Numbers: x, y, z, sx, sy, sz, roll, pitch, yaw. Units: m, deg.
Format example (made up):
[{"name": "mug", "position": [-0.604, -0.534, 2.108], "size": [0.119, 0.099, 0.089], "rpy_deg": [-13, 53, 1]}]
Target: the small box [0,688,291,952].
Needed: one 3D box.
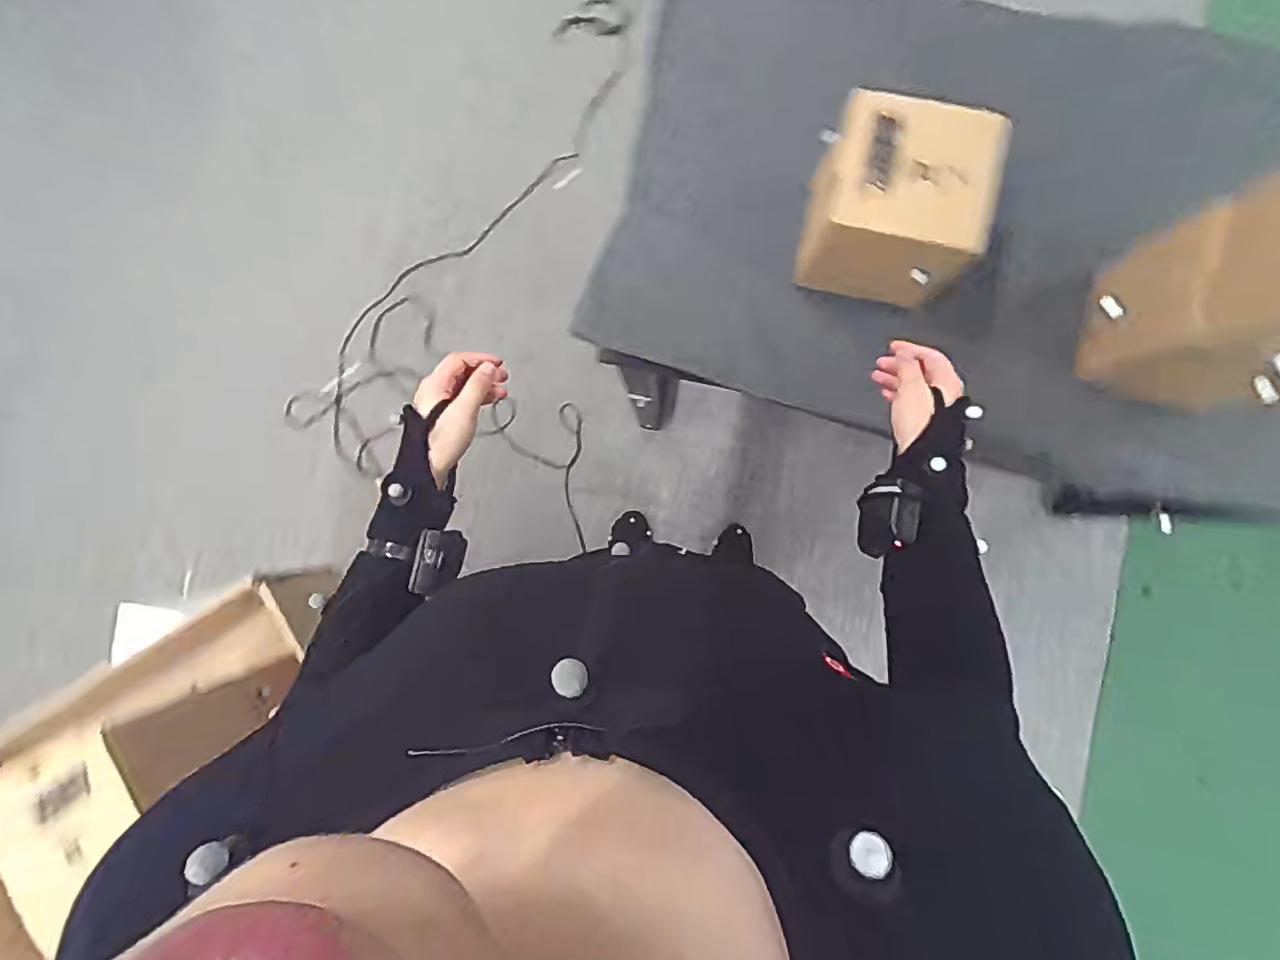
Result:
[{"name": "small box", "position": [-0.566, 0.370, 0.632], "size": [0.168, 0.176, 0.179], "rpy_deg": [-31, 88, 3]}]
